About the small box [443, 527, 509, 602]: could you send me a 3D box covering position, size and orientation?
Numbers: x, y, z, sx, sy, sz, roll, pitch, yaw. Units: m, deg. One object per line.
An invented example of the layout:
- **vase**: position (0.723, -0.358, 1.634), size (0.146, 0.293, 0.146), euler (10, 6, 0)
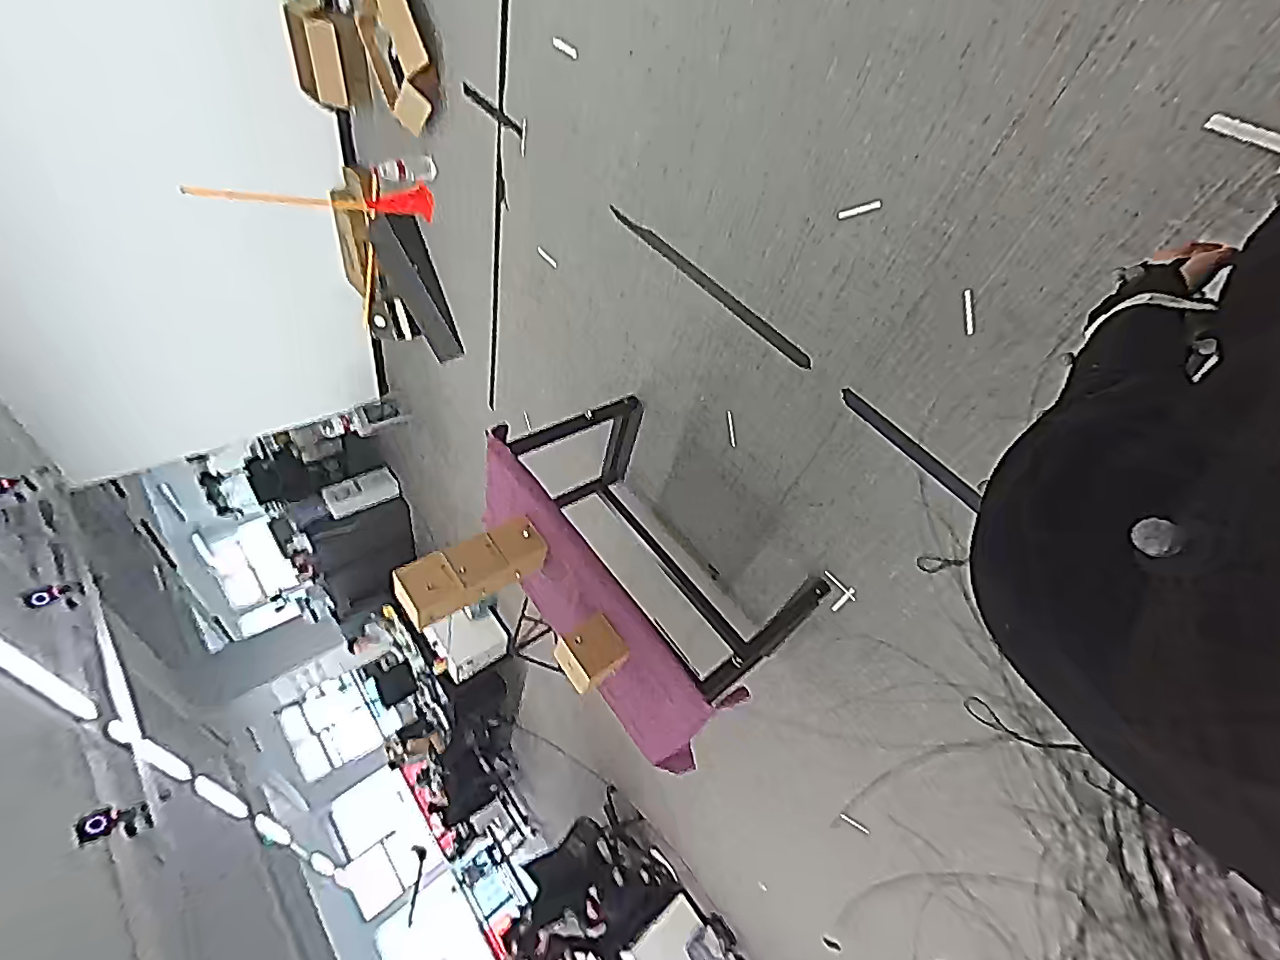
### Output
- **small box**: position (-0.583, 0.300, 1.923), size (0.168, 0.176, 0.179), euler (50, 145, 18)

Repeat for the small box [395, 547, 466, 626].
- **small box**: position (-0.703, 0.356, 1.827), size (0.168, 0.176, 0.179), euler (50, 144, 18)

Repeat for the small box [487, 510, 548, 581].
- **small box**: position (-0.462, 0.242, 2.017), size (0.168, 0.176, 0.179), euler (49, 143, 20)

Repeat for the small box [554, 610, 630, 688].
- **small box**: position (-0.164, 0.566, 1.833), size (0.179, 0.176, 0.168), euler (49, 144, 20)
